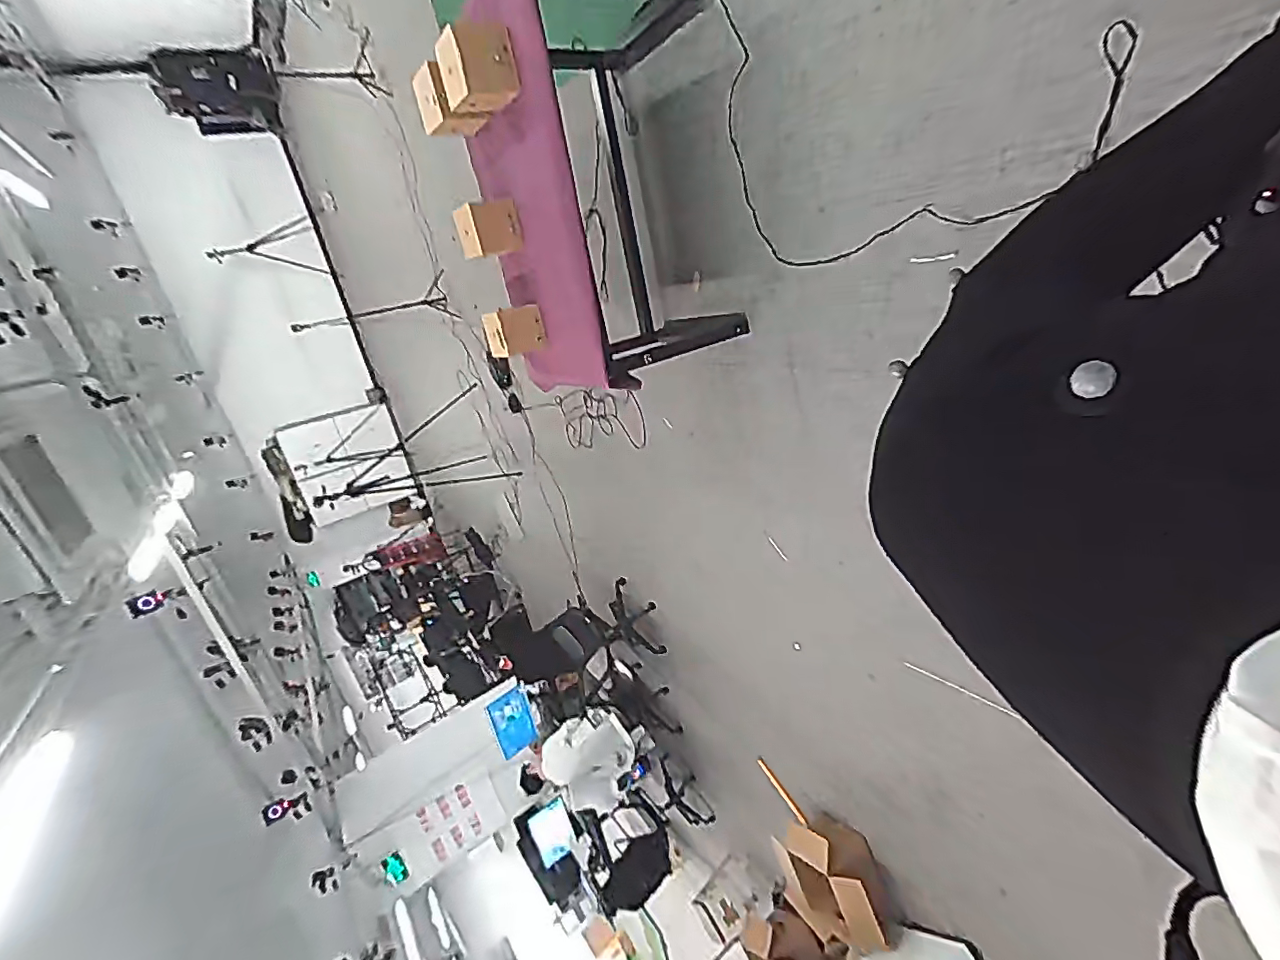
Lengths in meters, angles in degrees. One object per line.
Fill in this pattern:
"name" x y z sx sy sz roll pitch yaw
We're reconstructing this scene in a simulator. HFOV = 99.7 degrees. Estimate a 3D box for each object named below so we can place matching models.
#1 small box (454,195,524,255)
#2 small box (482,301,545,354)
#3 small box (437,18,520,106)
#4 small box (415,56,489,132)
"small box" -0.541 -0.913 1.941 0.179 0.176 0.168 19 128 52
"small box" -0.479 -0.585 2.073 0.179 0.176 0.168 19 126 53
"small box" -0.474 -1.224 1.595 0.179 0.176 0.168 23 131 52
"small box" -0.624 -1.282 1.803 0.179 0.176 0.168 18 127 52
